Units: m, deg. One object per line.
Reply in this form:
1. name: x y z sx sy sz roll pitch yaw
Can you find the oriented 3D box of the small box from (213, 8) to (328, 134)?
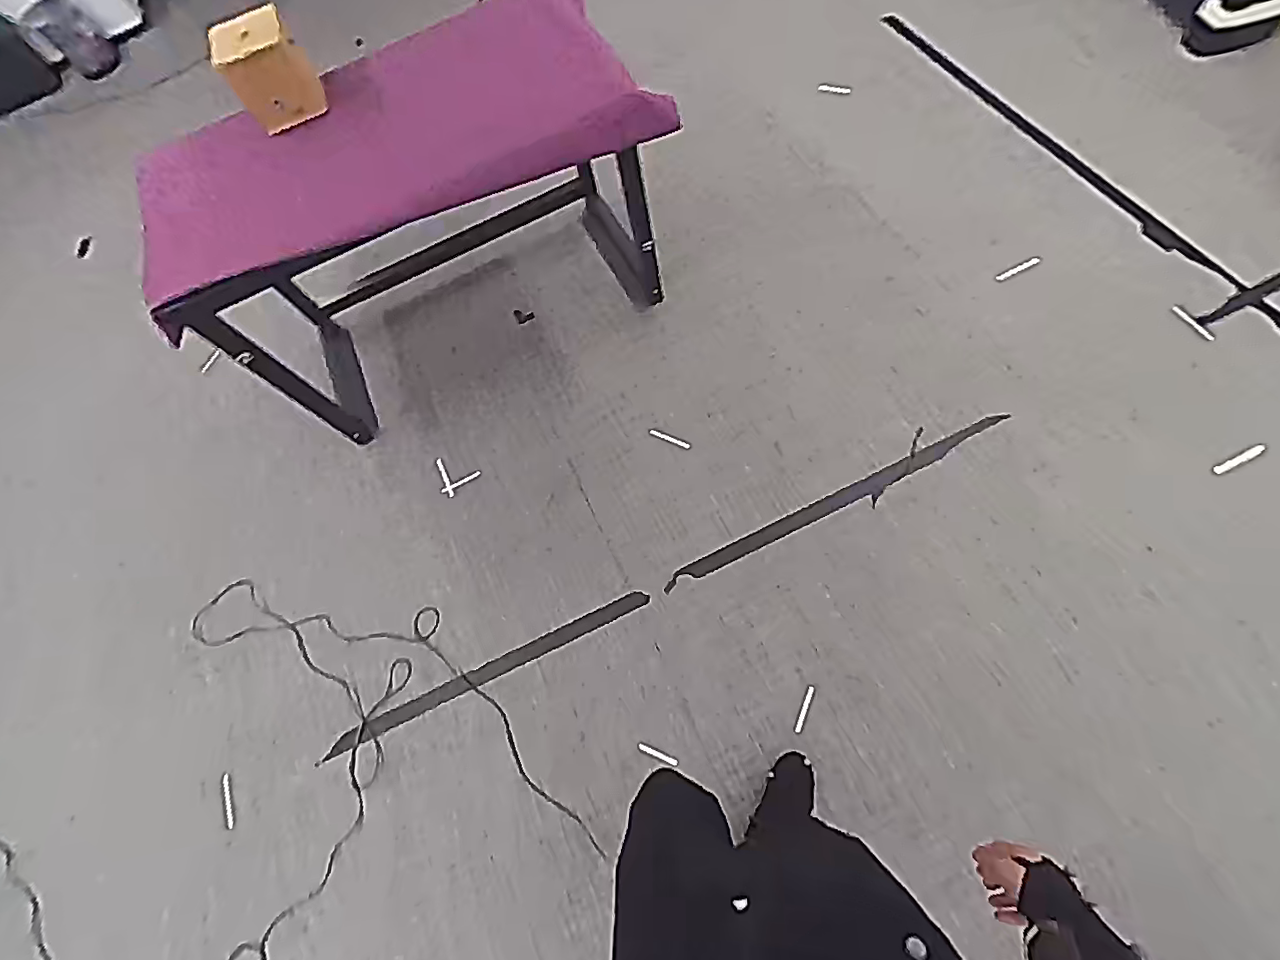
1. small box: -0.915 -1.013 1.349 0.168 0.176 0.179 -24 67 -1
